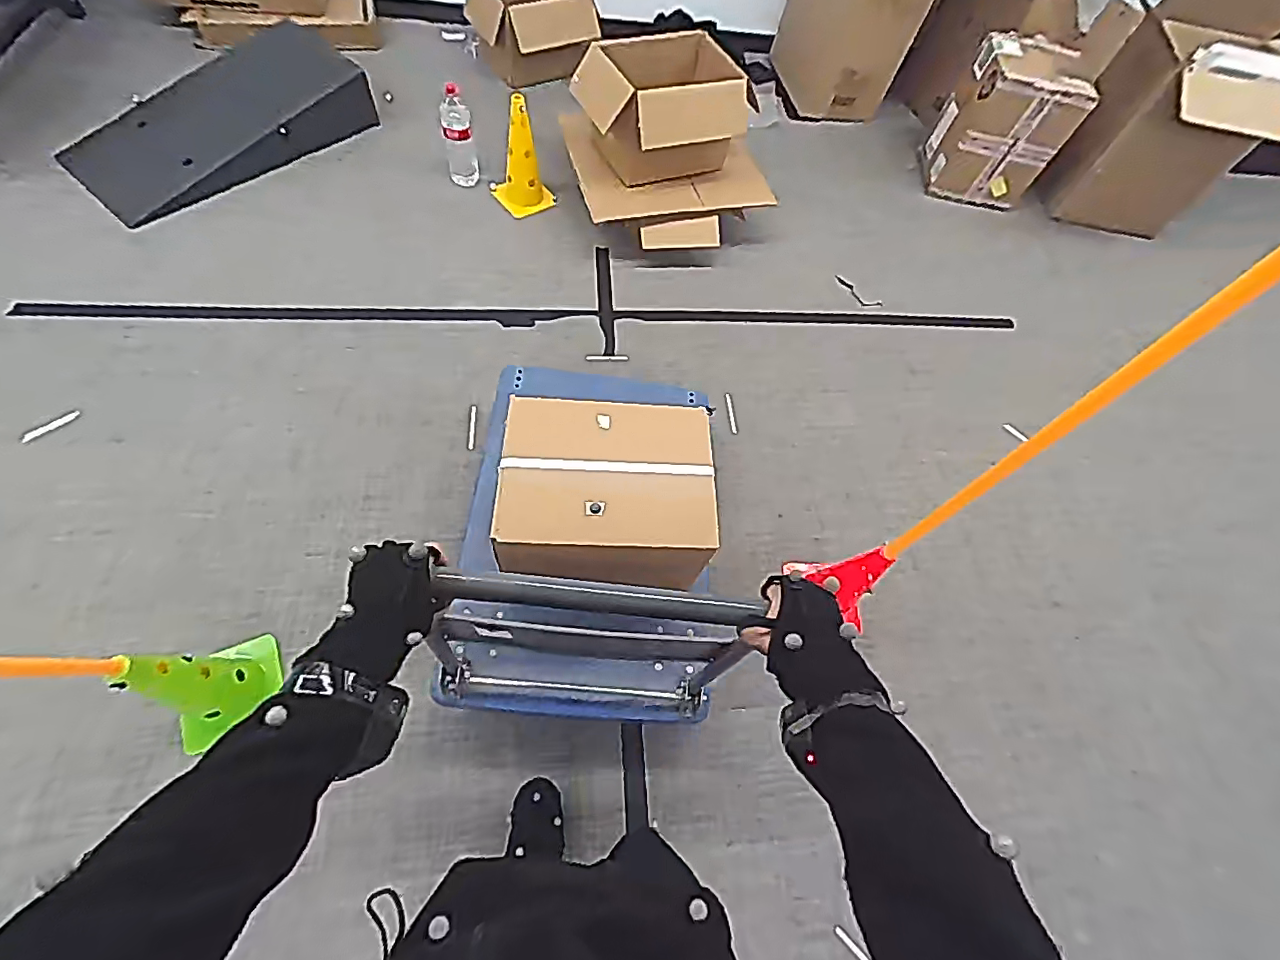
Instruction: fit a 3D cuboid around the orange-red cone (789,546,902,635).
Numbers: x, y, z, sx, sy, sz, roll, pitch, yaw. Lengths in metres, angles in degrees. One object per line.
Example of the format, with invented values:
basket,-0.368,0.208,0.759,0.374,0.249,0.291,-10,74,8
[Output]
orange-red cone,0.524,0.237,1.311,0.199,0.360,0.198,5,62,-6
